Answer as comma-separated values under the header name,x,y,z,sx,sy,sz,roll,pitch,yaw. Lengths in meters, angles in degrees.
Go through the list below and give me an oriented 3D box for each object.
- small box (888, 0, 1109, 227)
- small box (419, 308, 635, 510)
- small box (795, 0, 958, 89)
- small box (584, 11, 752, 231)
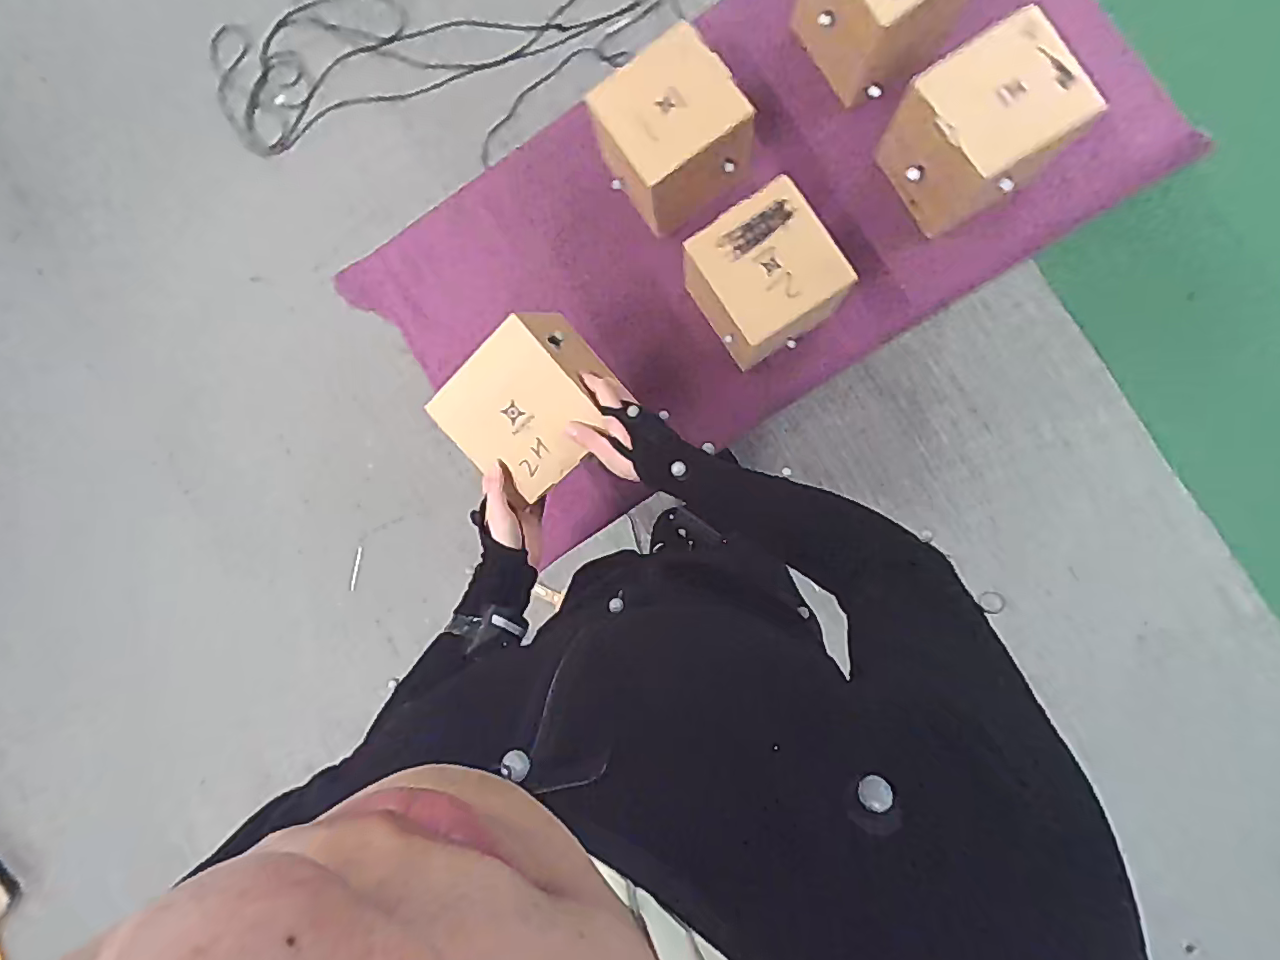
name,x,y,z,sx,sy,sz,roll,pitch,yaw
small box,0.475,-0.496,0.757,0.179,0.176,0.168,-31,86,7
small box,-0.131,-0.097,0.688,0.168,0.176,0.179,-38,98,20
small box,0.345,-0.710,0.771,0.168,0.176,0.179,-32,86,6
small box,0.044,-0.518,0.808,0.179,0.176,0.168,-34,86,6
